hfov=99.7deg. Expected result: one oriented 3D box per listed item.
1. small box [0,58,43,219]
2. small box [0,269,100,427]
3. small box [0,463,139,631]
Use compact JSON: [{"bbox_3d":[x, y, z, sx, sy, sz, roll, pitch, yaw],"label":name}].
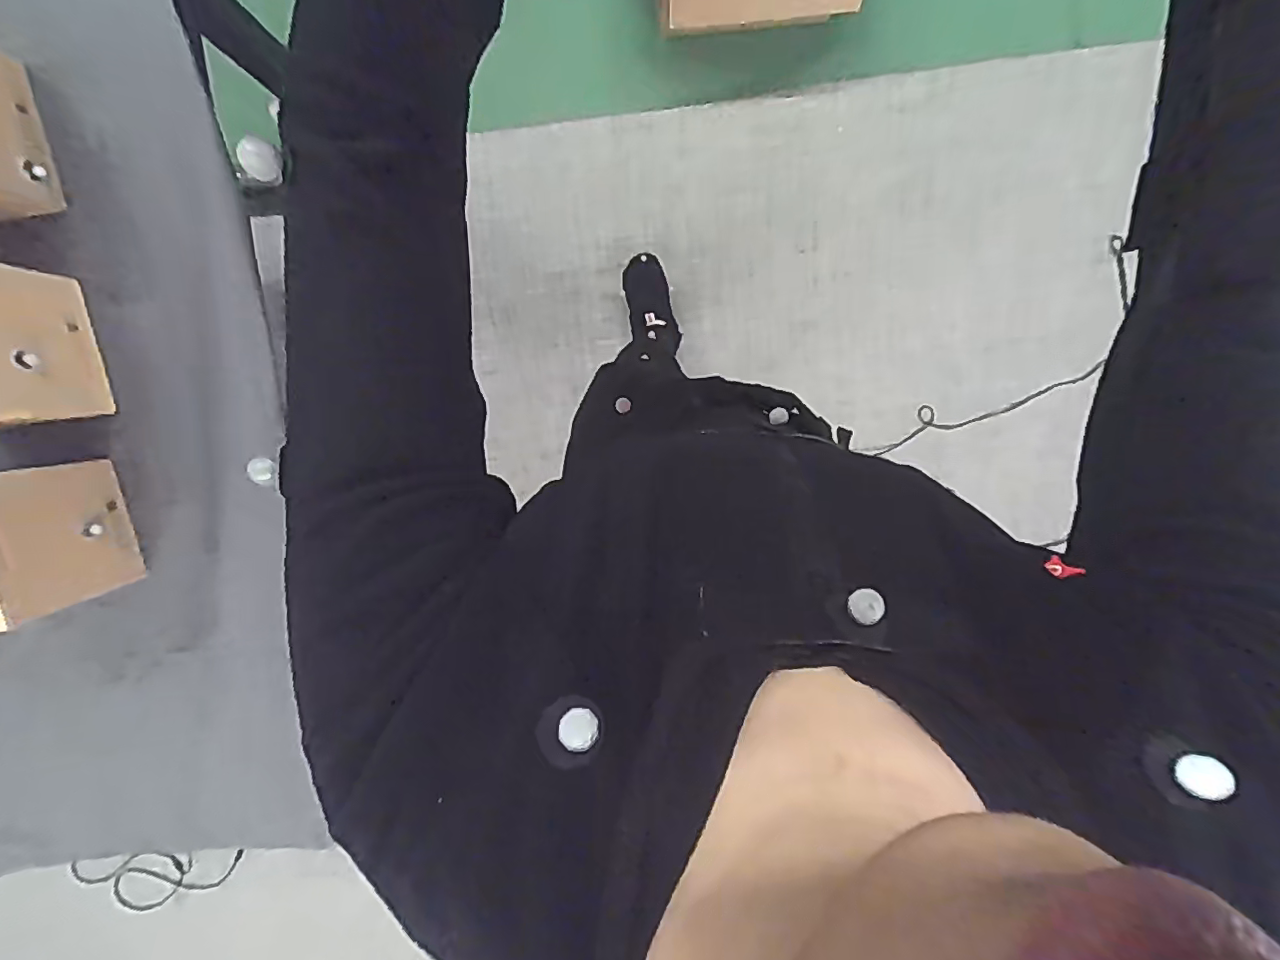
[{"bbox_3d":[-0.787,-0.378,0.555,0.179,0.176,0.168,-8,99,2],"label":"small box"},{"bbox_3d":[-0.764,-0.142,0.598,0.179,0.176,0.168,-8,100,1],"label":"small box"},{"bbox_3d":[-0.761,0.079,0.633,0.179,0.176,0.168,-9,99,1],"label":"small box"}]
